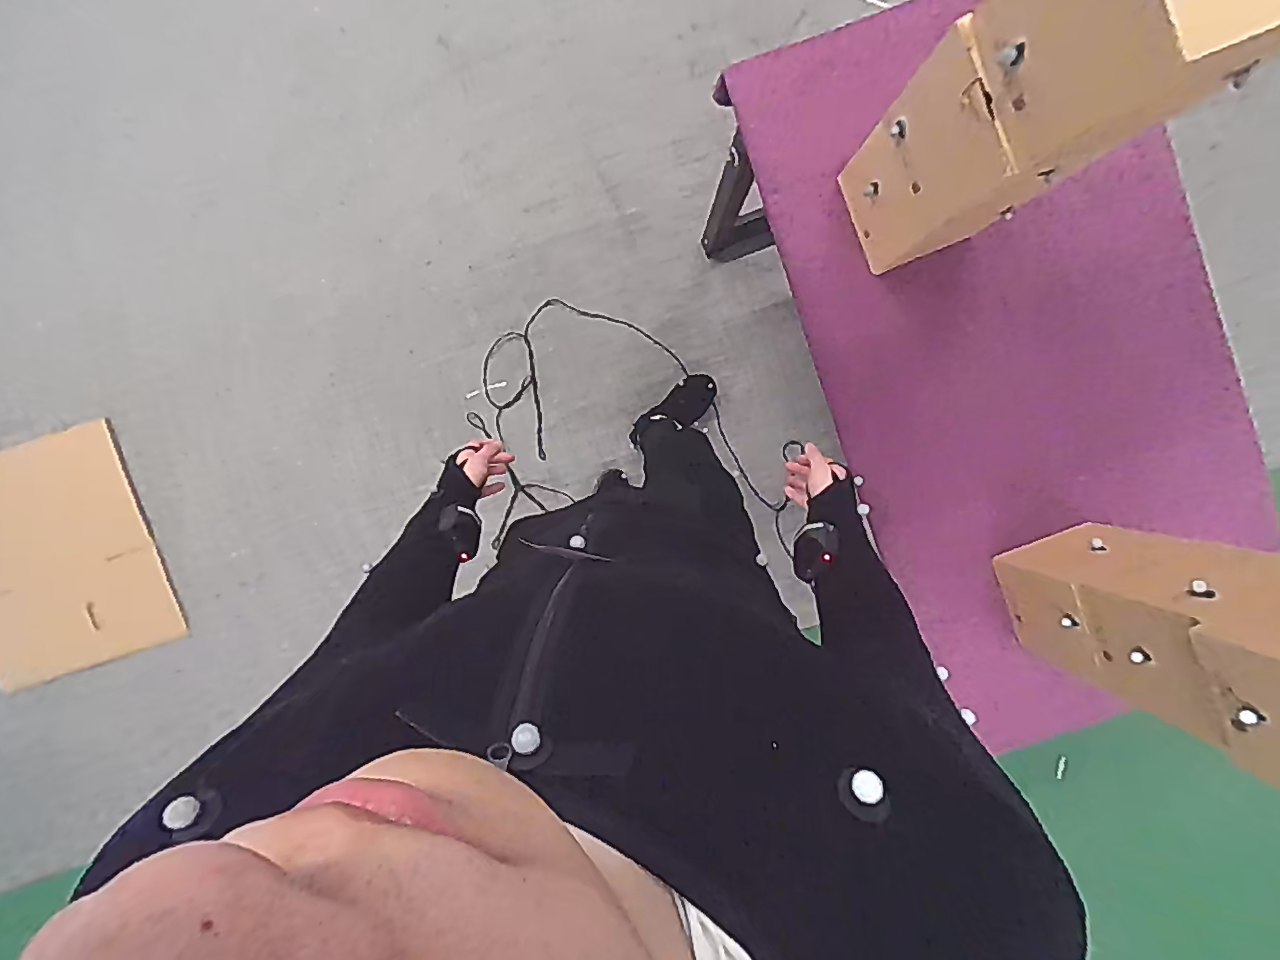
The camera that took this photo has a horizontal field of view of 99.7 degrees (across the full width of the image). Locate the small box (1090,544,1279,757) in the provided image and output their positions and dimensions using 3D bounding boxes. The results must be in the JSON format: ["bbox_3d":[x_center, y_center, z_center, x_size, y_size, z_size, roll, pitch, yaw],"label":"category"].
[{"bbox_3d":[0.697,0.190,0.654,0.179,0.176,0.168,-19,94,0],"label":"small box"}]

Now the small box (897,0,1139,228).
[{"bbox_3d":[0.419,-0.416,0.609,0.179,0.176,0.168,-22,94,0],"label":"small box"}]

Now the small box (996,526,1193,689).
[{"bbox_3d":[0.694,0.179,0.819,0.179,0.176,0.168,-21,93,0],"label":"small box"}]

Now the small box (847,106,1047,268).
[{"bbox_3d":[0.420,-0.430,0.772,0.179,0.176,0.168,-22,94,1],"label":"small box"}]

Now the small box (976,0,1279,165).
[{"bbox_3d":[0.429,-0.404,0.446,0.179,0.176,0.168,-21,94,1],"label":"small box"}]
